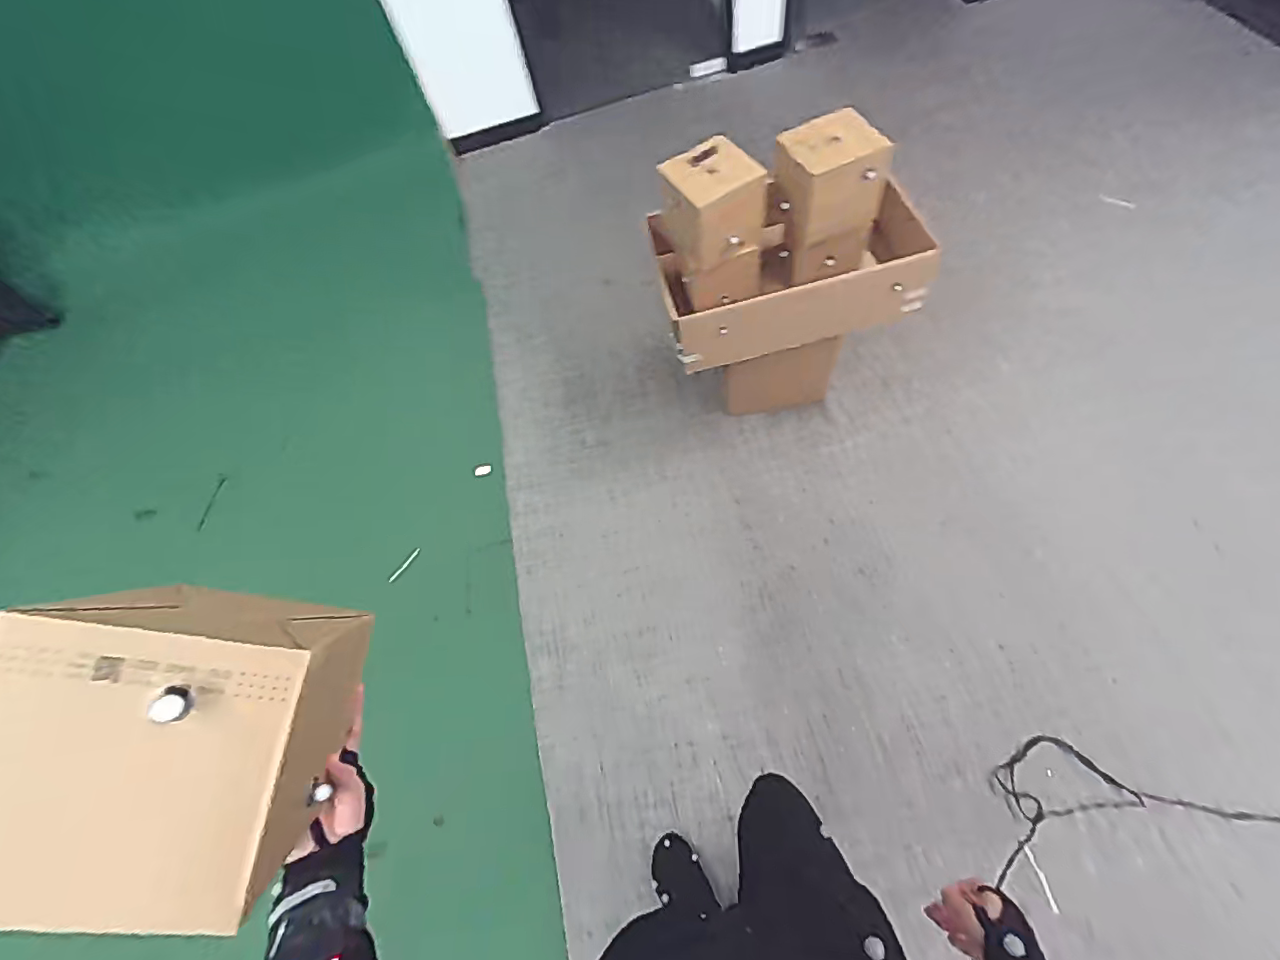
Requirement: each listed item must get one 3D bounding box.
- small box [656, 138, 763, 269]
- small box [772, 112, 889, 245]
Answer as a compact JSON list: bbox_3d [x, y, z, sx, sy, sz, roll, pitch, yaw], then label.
[{"bbox_3d":[0.154,-0.609,1.203,0.168,0.176,0.179,-30,62,-6],"label":"small box"},{"bbox_3d":[0.403,-0.654,1.184,0.179,0.176,0.168,-22,60,-2],"label":"small box"}]
